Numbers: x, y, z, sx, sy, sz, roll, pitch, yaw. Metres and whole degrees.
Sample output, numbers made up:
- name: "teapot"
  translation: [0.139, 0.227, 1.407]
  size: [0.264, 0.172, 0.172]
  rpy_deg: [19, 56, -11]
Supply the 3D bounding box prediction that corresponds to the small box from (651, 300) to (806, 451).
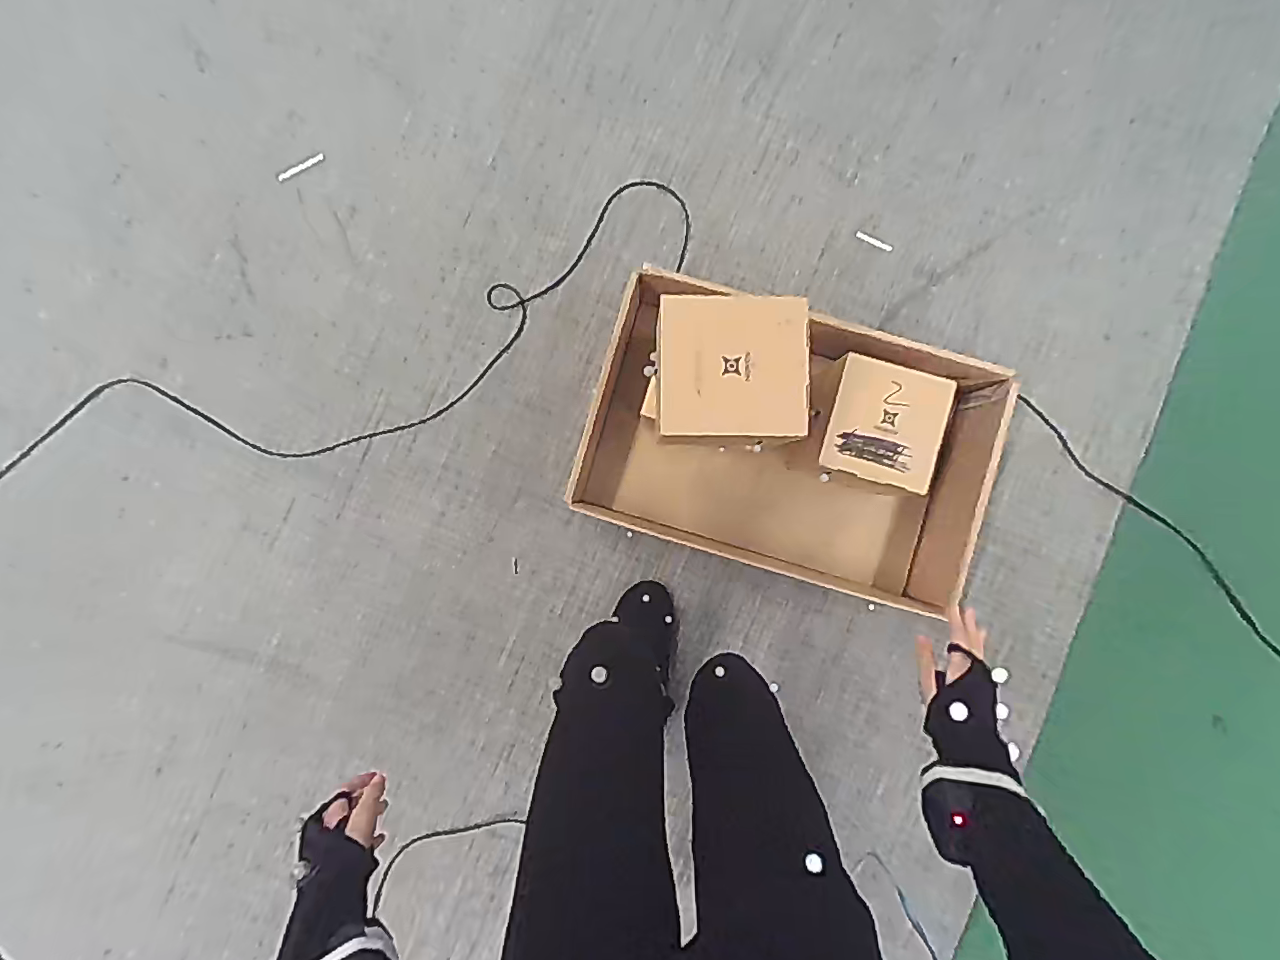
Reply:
- name: "small box"
  translation: [0.106, -0.127, 0.712]
  size: [0.179, 0.176, 0.168]
  rpy_deg: [1, 90, 0]
